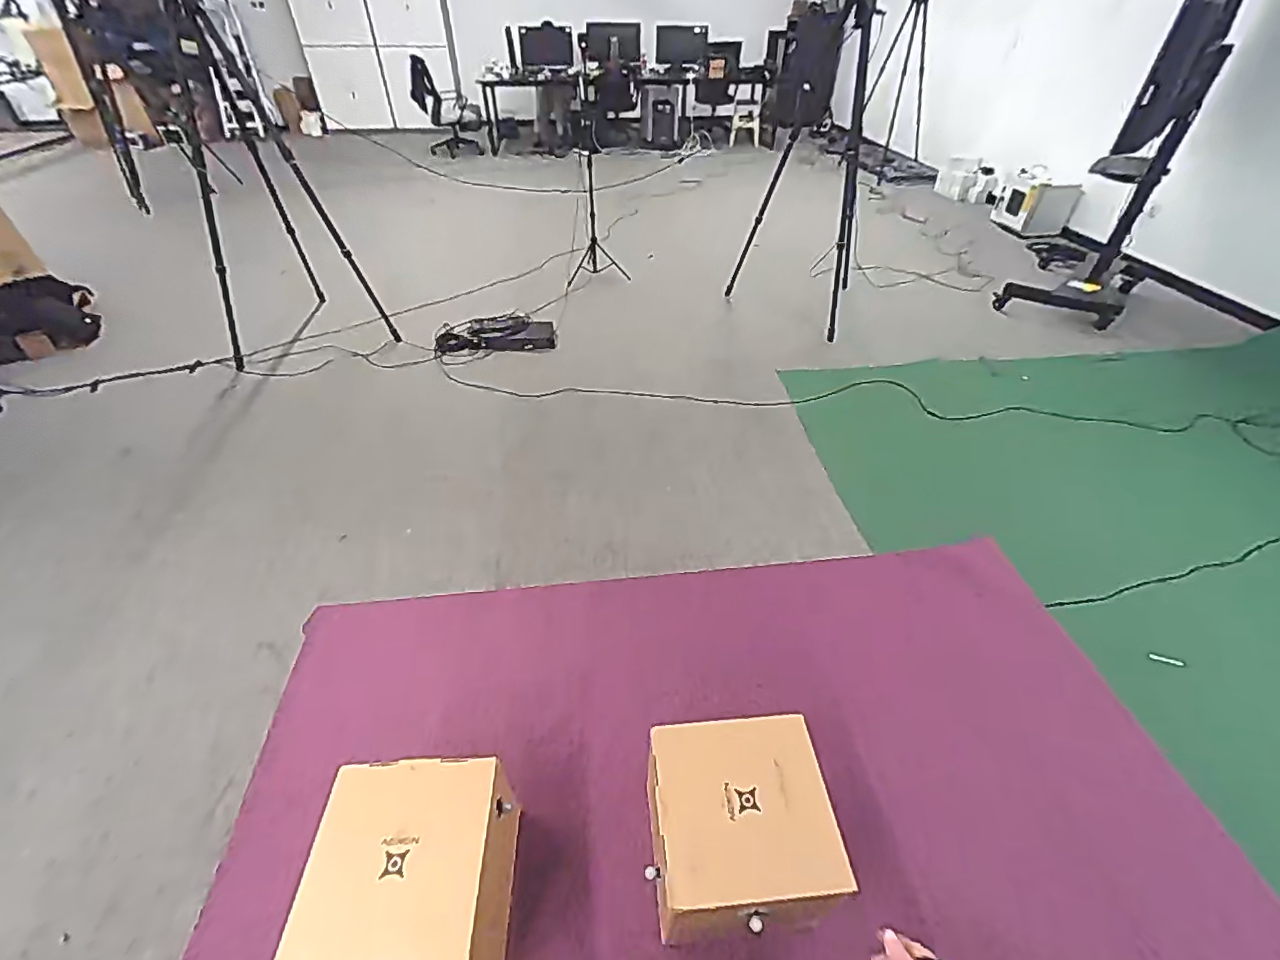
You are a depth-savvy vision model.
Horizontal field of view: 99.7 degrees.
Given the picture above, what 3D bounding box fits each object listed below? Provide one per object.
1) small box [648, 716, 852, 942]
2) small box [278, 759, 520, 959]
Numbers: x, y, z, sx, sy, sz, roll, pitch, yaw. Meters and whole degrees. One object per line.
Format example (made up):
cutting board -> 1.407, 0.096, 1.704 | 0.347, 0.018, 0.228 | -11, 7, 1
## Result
small box -> 0.103, 0.383, 0.595 | 0.179, 0.176, 0.168 | -3, 42, -3
small box -> -0.226, 0.418, 0.562 | 0.168, 0.176, 0.179 | -2, 41, -2
